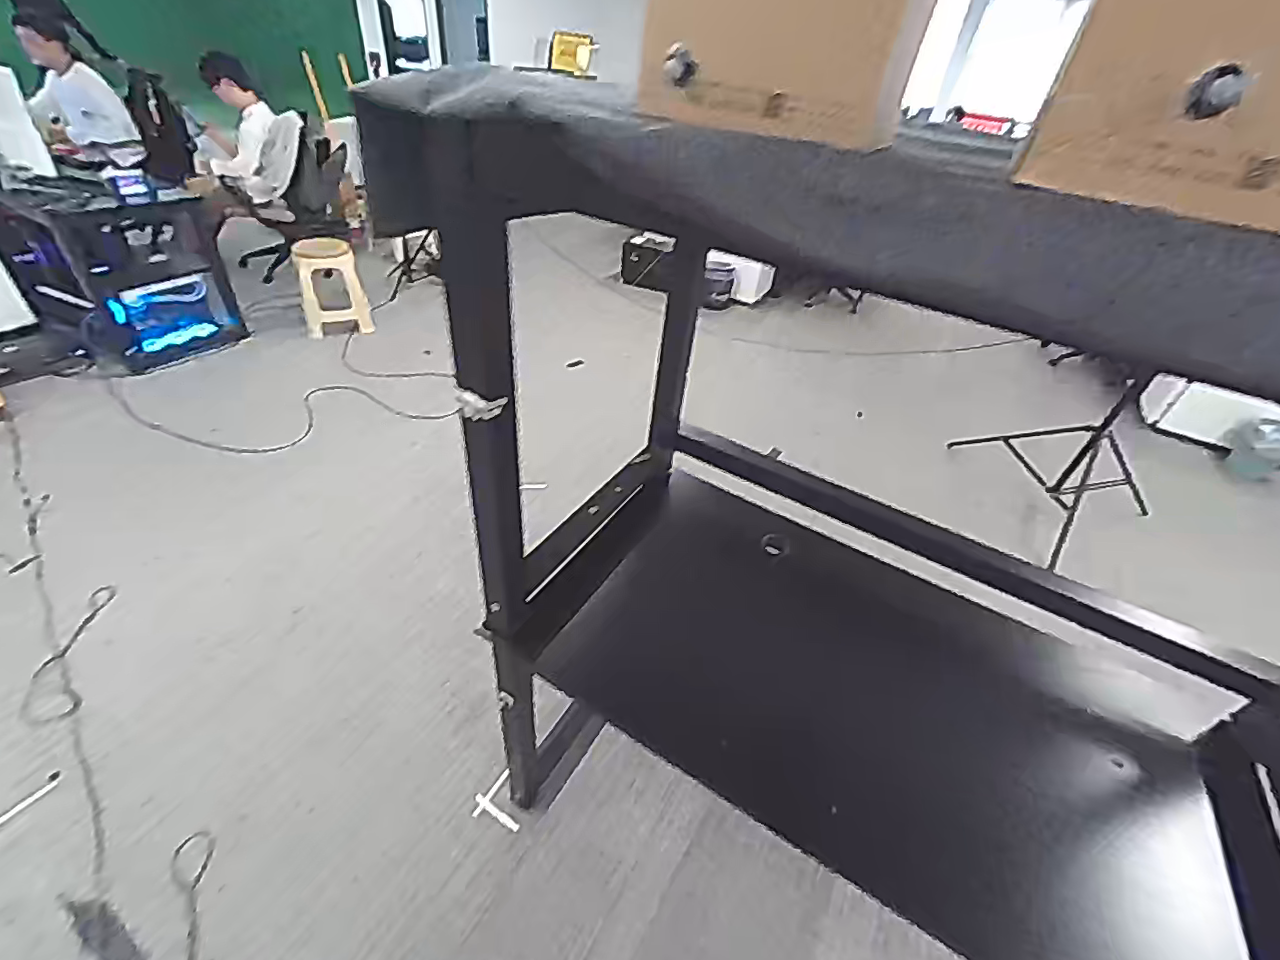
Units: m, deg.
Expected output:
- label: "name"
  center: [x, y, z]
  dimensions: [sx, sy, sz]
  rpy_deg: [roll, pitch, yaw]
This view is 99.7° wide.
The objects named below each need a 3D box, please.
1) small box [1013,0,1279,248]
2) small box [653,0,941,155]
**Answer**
- label: "small box"
  center: [0.342, -0.246, 0.306]
  dimensions: [0.168, 0.176, 0.179]
  rpy_deg: [24, 40, 20]
- label: "small box"
  center: [0.120, -0.343, 0.387]
  dimensions: [0.168, 0.176, 0.179]
  rpy_deg: [24, 39, 18]
